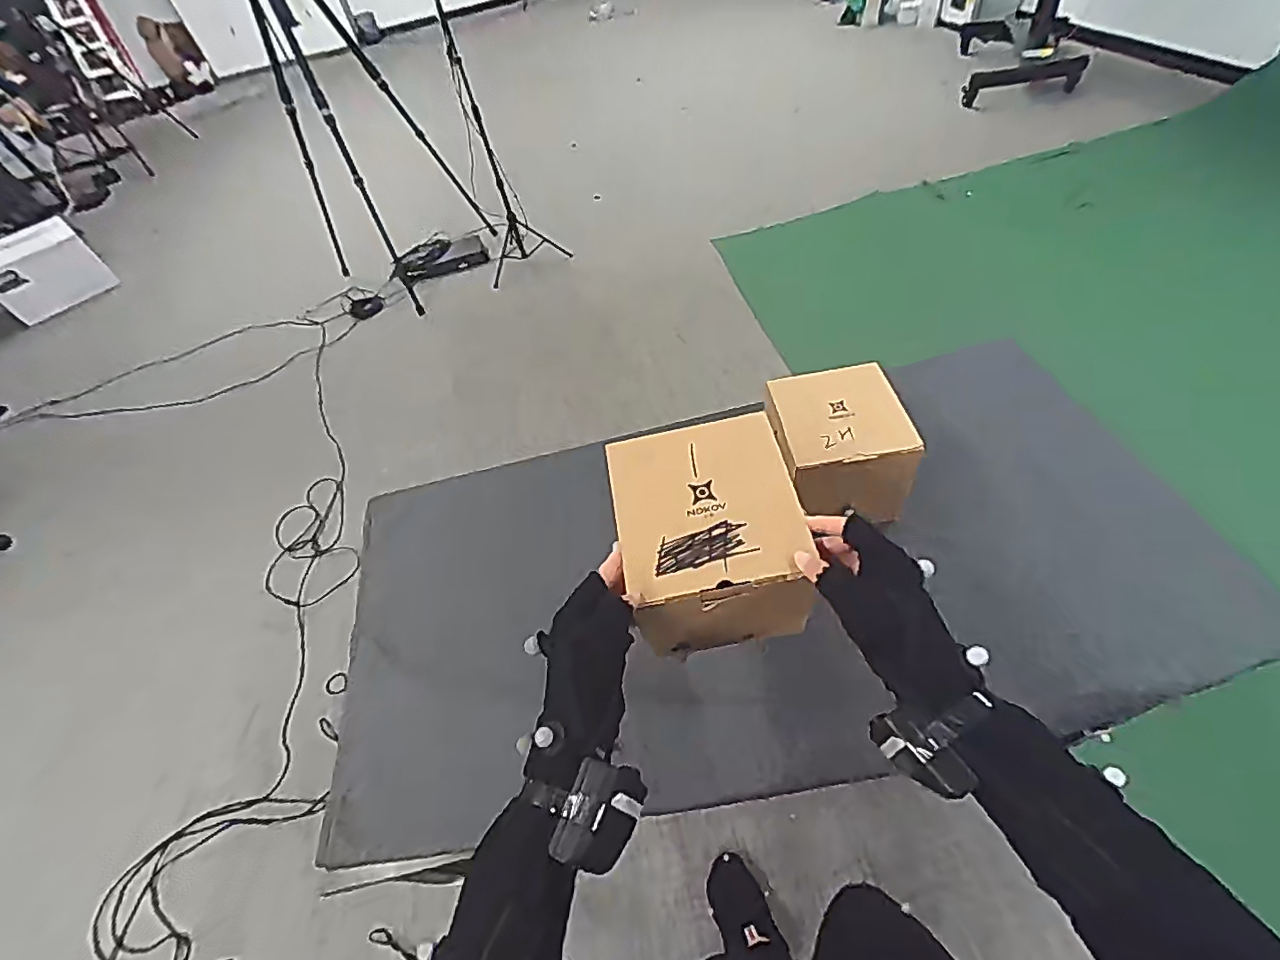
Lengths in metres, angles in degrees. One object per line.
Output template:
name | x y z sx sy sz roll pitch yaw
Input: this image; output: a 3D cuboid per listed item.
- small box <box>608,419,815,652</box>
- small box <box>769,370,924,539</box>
small box | 0.070 0.068 0.564 0.168 0.176 0.179 -12 55 3
small box | 0.291 -0.035 0.810 0.168 0.176 0.179 -10 51 5
